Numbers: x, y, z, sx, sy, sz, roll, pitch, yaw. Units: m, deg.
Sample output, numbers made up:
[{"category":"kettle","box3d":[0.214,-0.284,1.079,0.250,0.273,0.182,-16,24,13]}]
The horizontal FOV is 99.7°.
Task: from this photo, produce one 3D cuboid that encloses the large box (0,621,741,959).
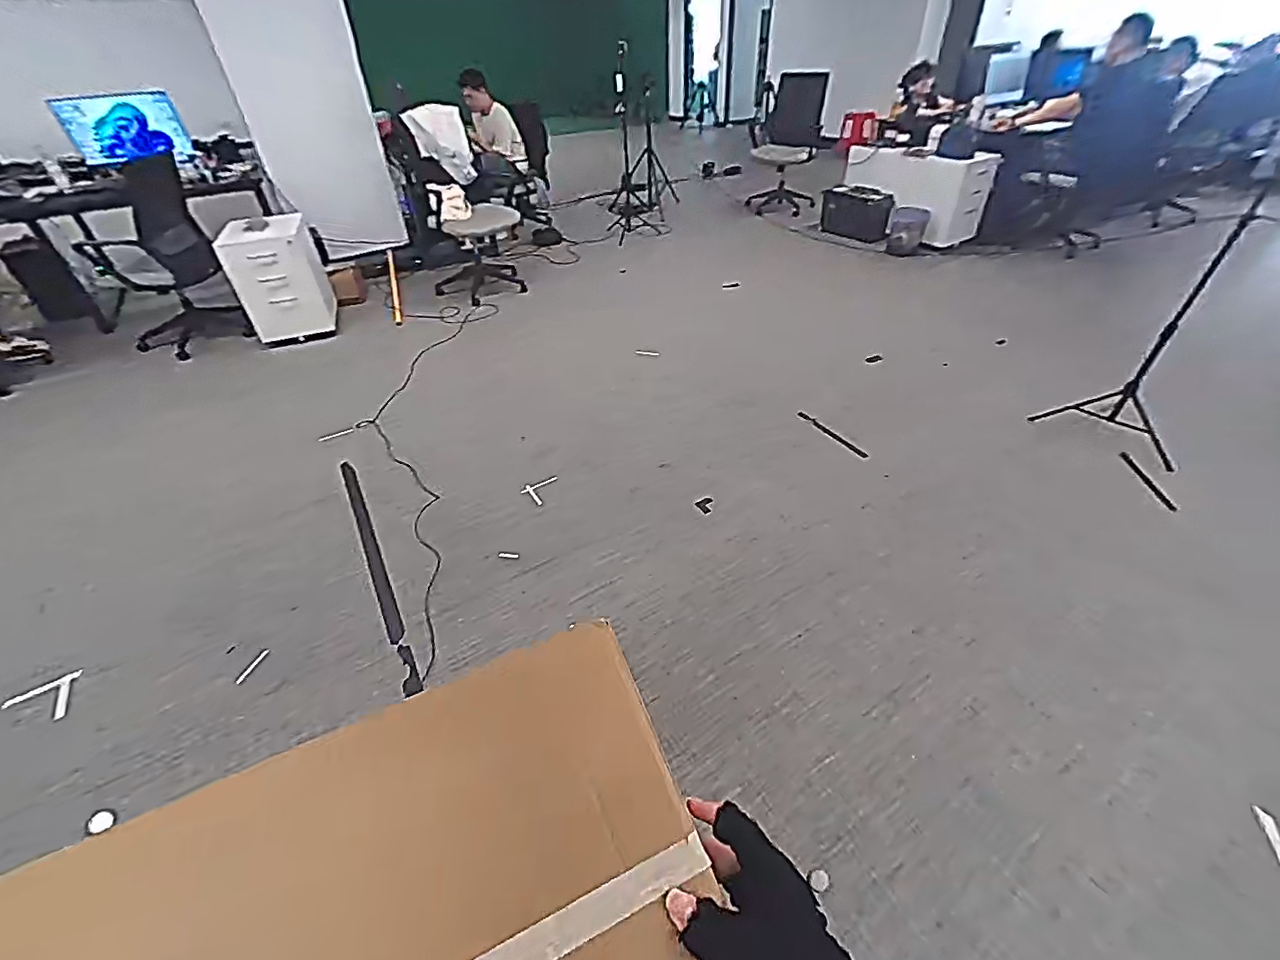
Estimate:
[{"category":"large box","box3d":[-0.168,0.356,0.430,0.408,0.320,0.320,-20,73,-16]}]
